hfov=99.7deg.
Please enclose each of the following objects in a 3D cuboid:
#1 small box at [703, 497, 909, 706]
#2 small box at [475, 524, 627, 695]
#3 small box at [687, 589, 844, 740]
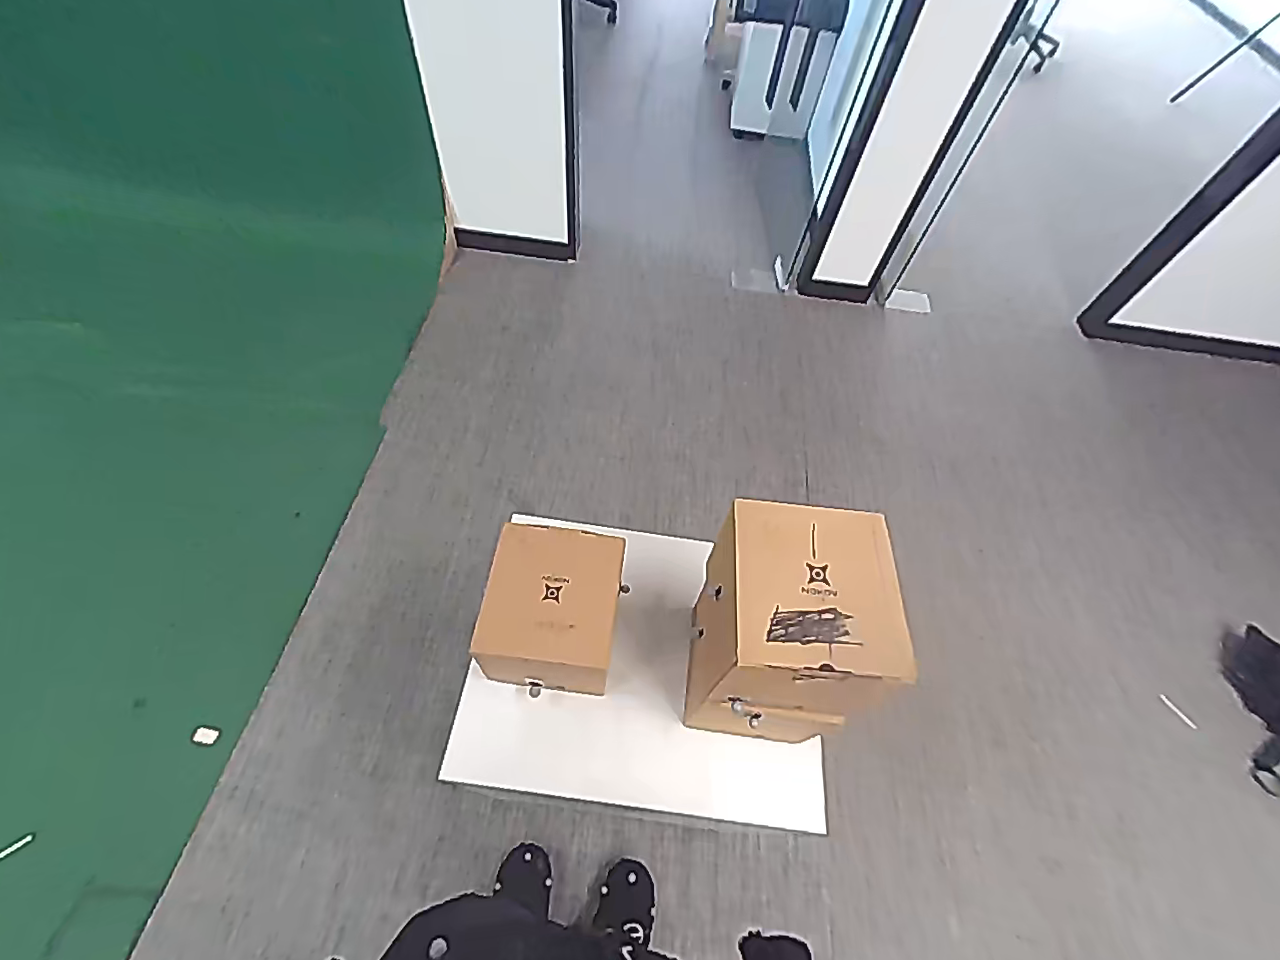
[{"bbox_3d":[0.165,0.141,0.598,0.168,0.176,0.179,5,57,-1],"label":"small box"},{"bbox_3d":[-0.113,0.183,0.746,0.168,0.176,0.179,6,59,-1],"label":"small box"},{"bbox_3d":[0.159,0.236,0.733,0.168,0.176,0.179,8,57,1],"label":"small box"}]
